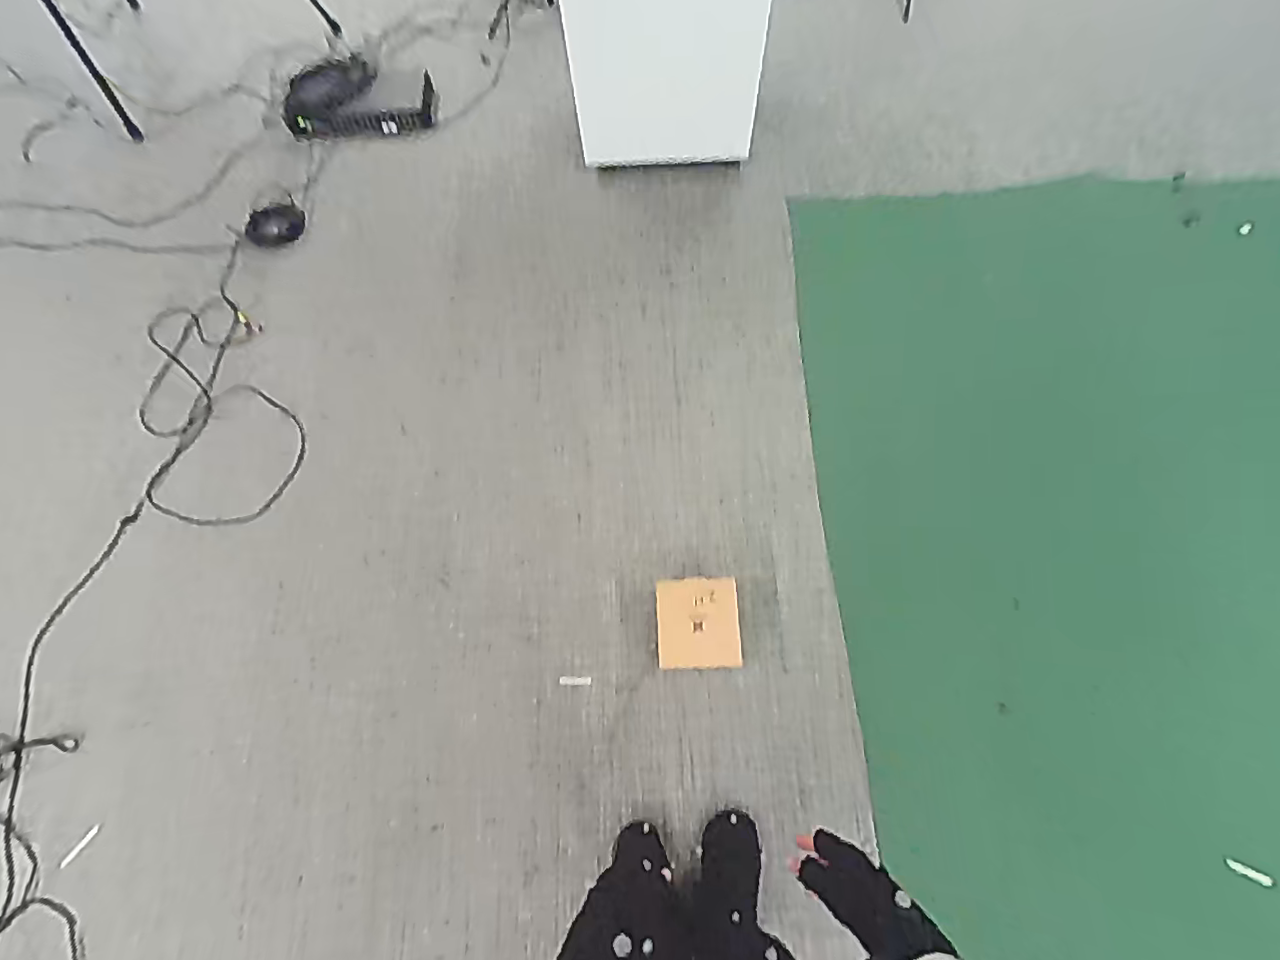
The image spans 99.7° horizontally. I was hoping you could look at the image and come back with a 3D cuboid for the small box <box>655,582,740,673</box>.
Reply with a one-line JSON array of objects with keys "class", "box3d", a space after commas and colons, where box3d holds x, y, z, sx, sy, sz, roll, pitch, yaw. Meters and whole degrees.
[{"class": "small box", "box3d": [0.119, 0.320, 1.163, 0.168, 0.176, 0.179, -2, 69, 2]}]
